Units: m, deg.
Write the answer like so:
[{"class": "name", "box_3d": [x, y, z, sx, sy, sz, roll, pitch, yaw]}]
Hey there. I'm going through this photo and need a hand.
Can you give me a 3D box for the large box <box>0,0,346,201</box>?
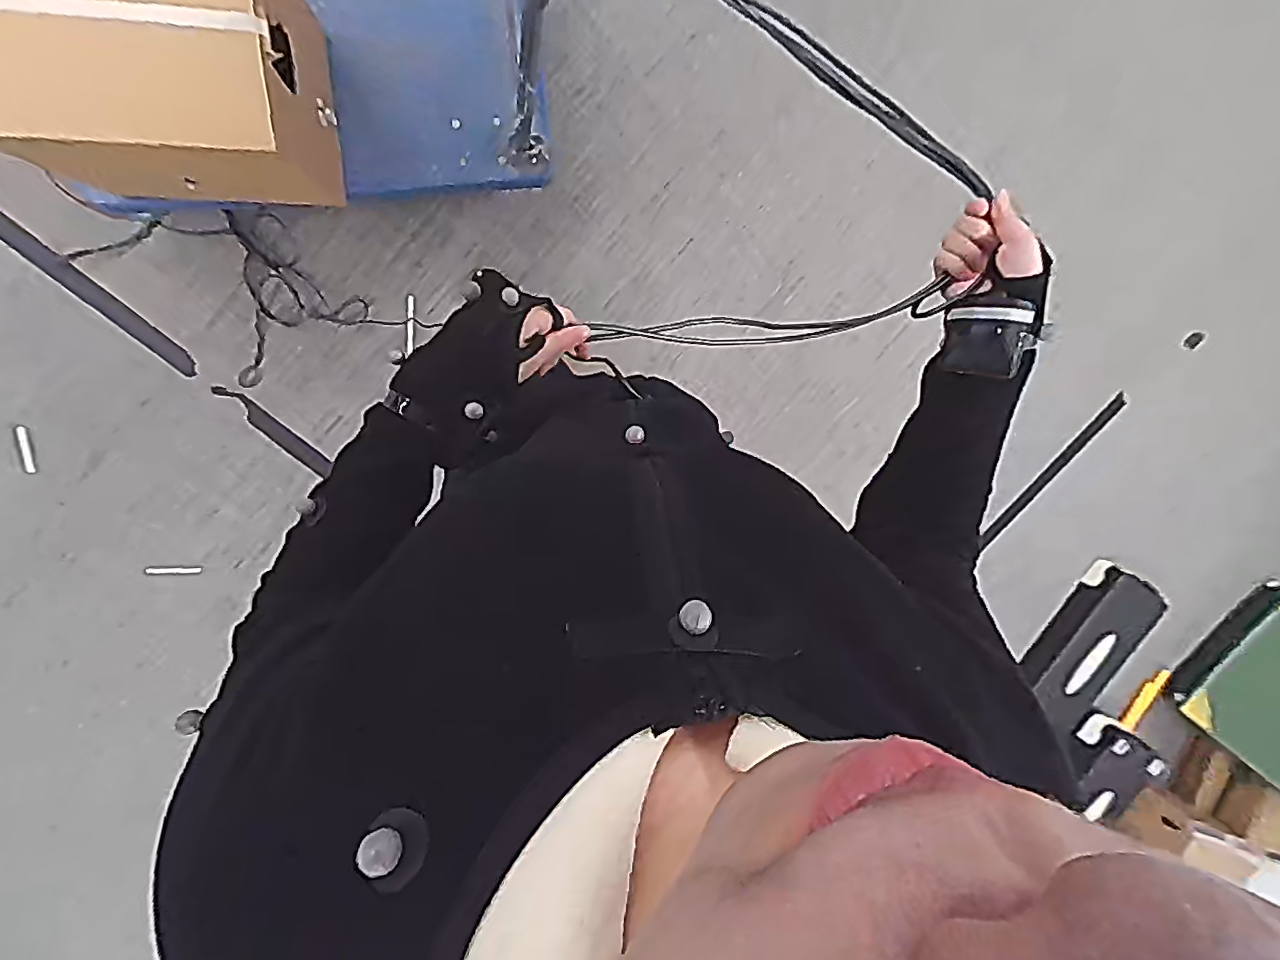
[{"class": "large box", "box_3d": [-0.749, -0.647, 0.855, 0.408, 0.320, 0.320, -3, 103, -10]}]
